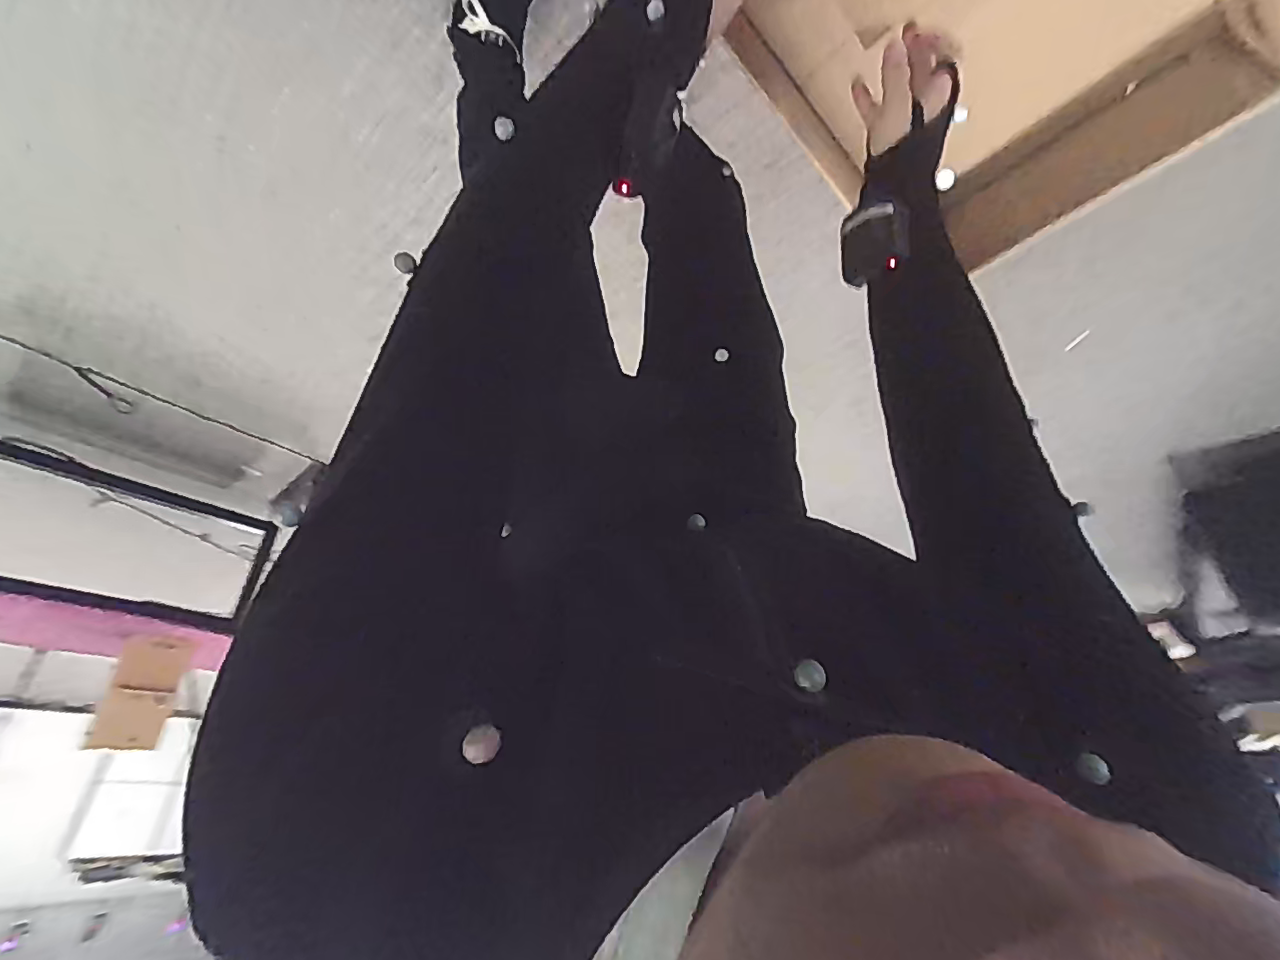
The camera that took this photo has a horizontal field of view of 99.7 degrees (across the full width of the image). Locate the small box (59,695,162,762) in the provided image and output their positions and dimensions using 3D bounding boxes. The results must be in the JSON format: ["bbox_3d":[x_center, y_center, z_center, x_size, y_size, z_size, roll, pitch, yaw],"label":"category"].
[{"bbox_3d":[-1.591,0.752,1.632,0.179,0.176,0.168,-23,143,35],"label":"small box"}]

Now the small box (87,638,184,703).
[{"bbox_3d":[-1.600,0.614,1.720,0.179,0.176,0.168,-25,142,34],"label":"small box"}]
